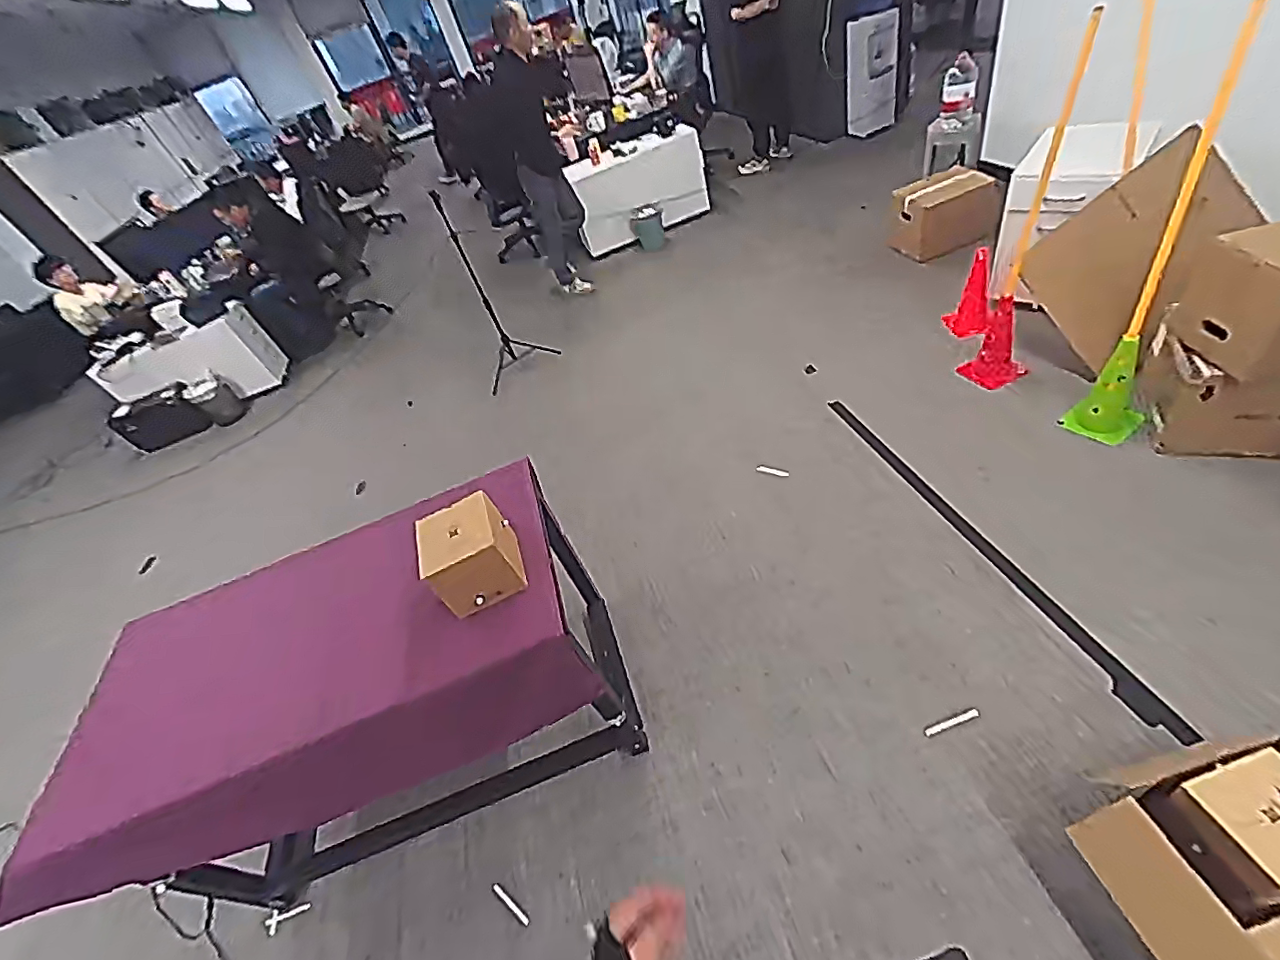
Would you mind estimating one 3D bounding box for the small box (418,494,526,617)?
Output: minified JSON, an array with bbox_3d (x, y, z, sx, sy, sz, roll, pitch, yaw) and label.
[{"bbox_3d":[-0.374,0.169,1.205,0.168,0.176,0.179,-26,43,-3],"label":"small box"}]
